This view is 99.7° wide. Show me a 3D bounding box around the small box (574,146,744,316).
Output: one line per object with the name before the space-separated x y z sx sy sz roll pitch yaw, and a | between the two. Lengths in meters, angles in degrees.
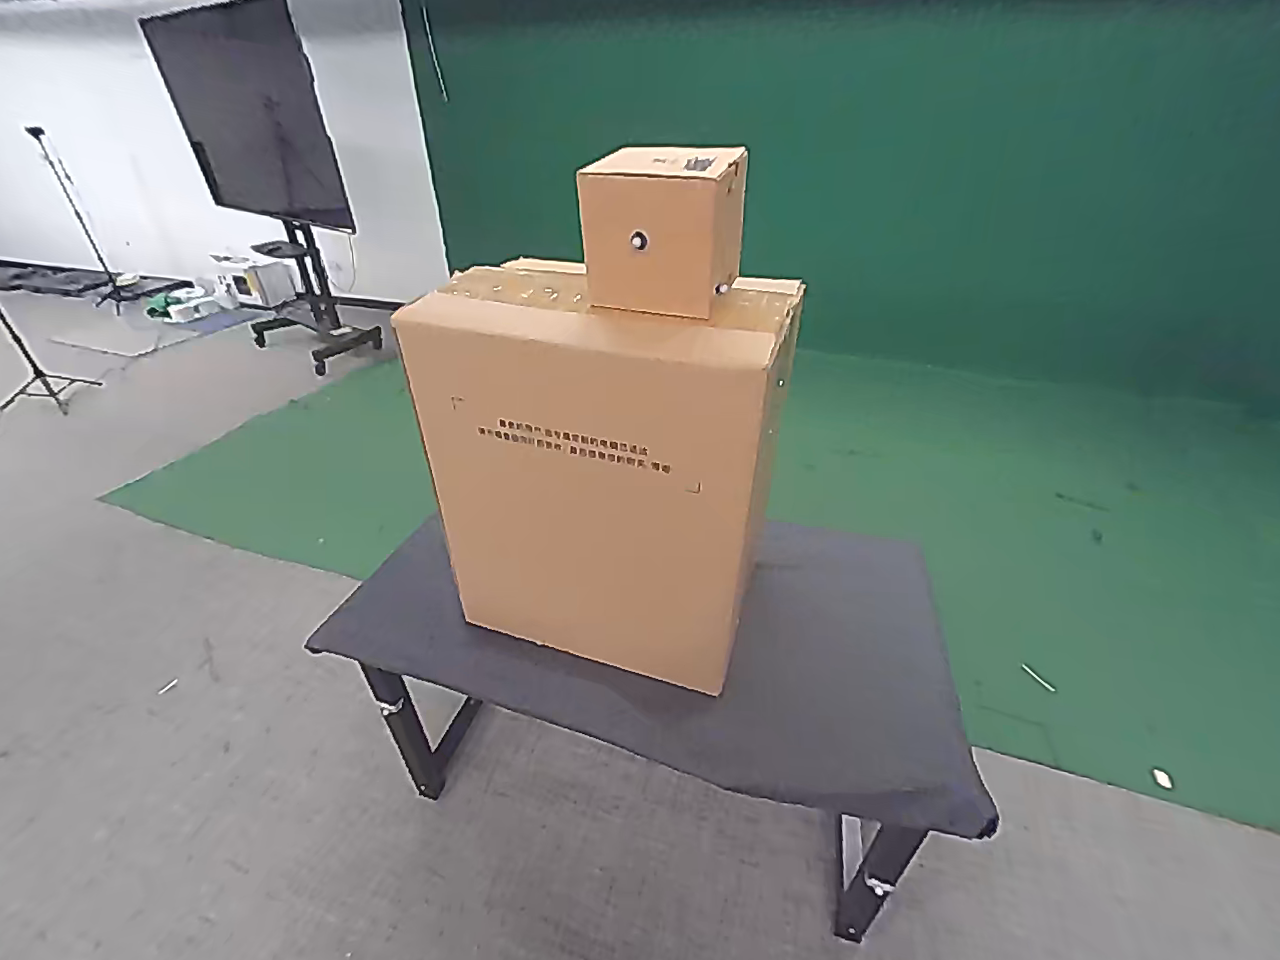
small box | 0.032 -0.336 0.731 0.179 0.176 0.168 12 43 17
